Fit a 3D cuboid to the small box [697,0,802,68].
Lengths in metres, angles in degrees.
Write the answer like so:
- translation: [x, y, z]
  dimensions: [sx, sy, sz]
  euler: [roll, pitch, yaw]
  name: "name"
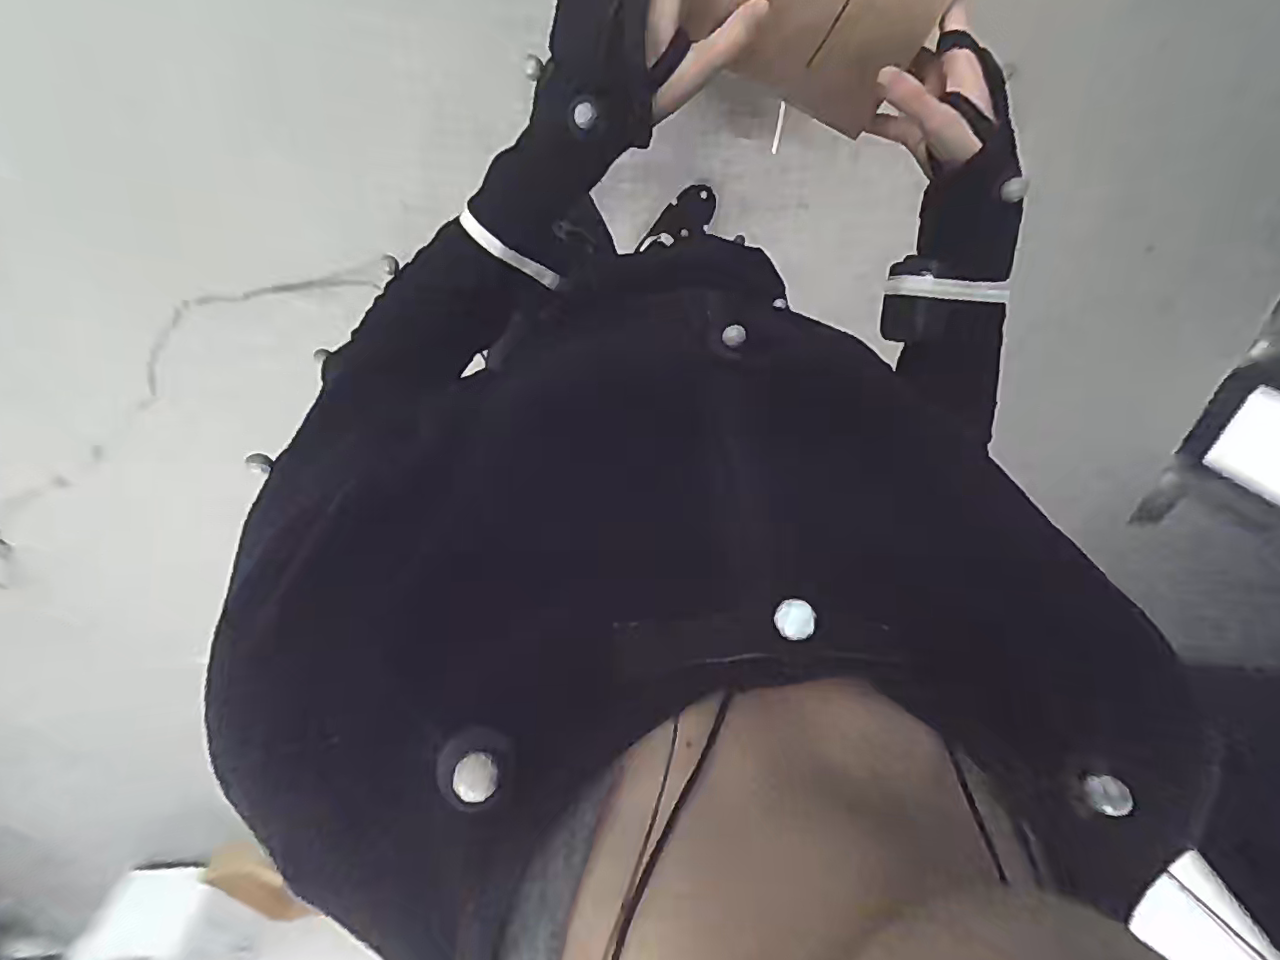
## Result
- translation: [0.204, -0.895, 1.013]
  dimensions: [0.168, 0.176, 0.179]
  euler: [3, 122, -4]
  name: "small box"
